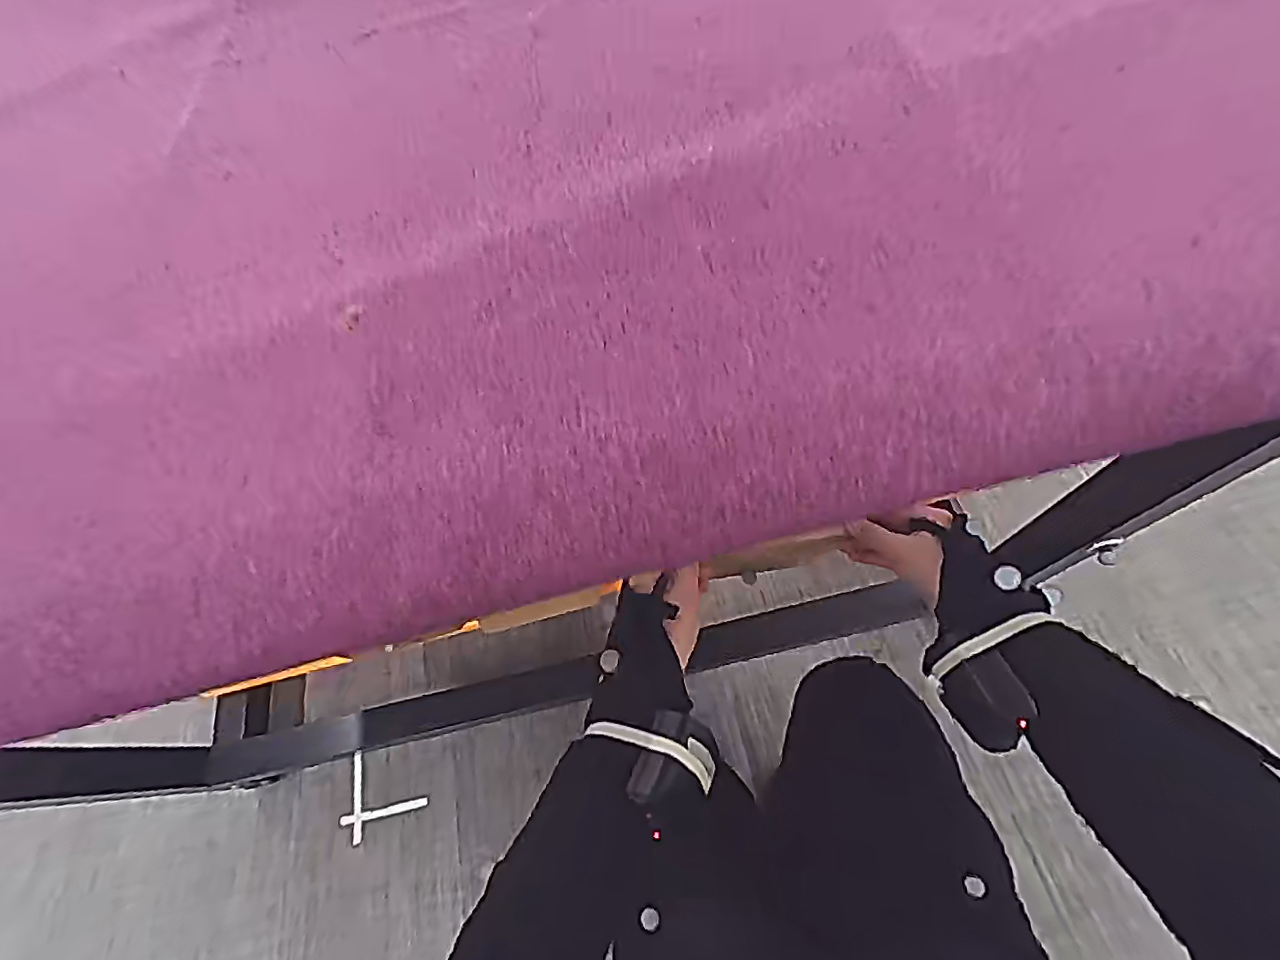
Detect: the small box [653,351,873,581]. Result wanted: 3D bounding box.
[{"bbox_3d":[0.104,-0.004,0.549,0.168,0.176,0.179,-8,72,0],"label":"small box"}]
